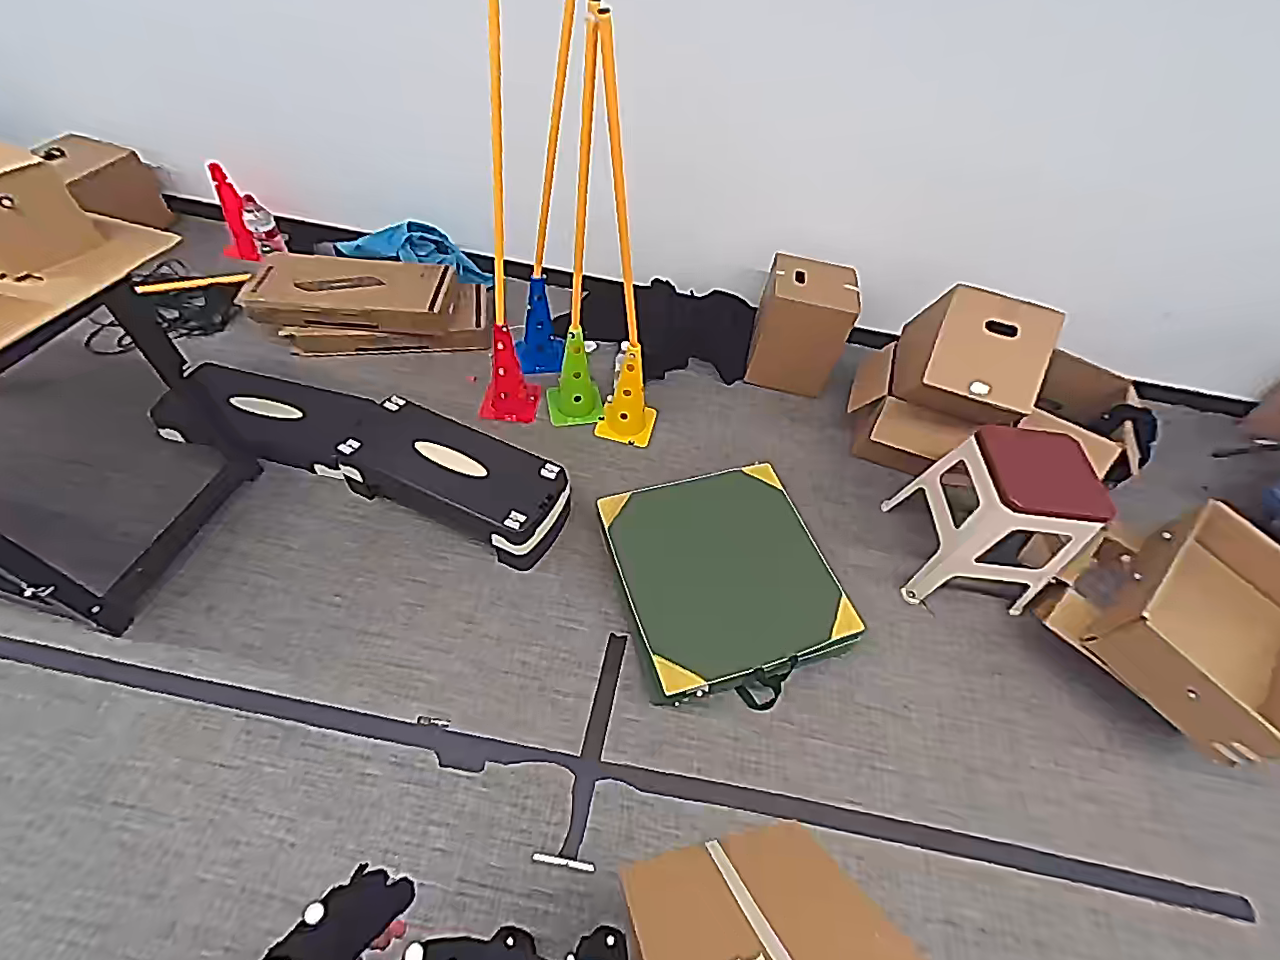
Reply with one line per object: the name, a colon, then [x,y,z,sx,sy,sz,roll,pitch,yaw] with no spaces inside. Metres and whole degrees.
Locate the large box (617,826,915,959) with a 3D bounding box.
large box: [0.172,0.738,0.692,0.320,0.408,0.320,-7,87,-13]
